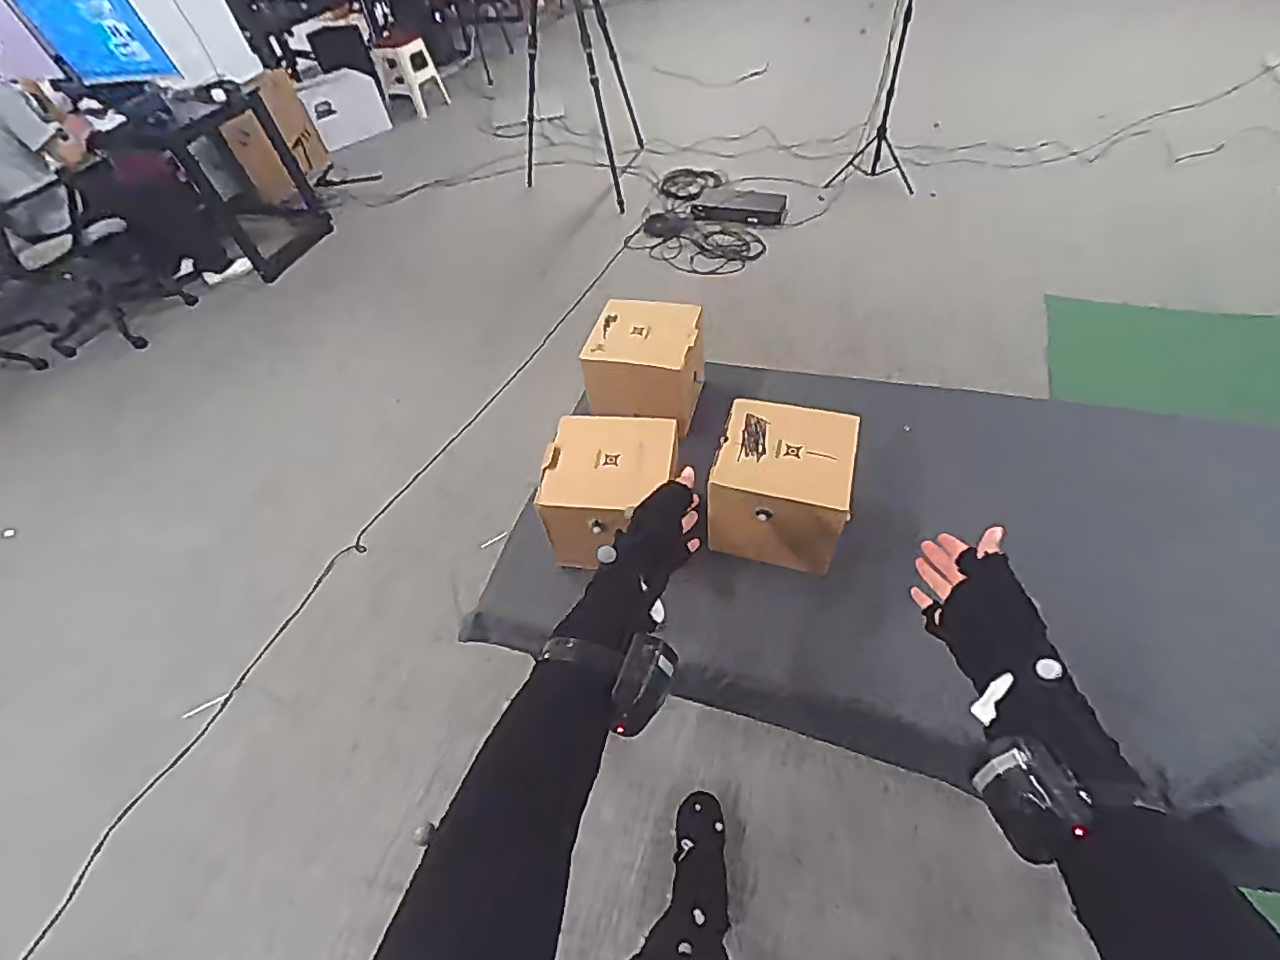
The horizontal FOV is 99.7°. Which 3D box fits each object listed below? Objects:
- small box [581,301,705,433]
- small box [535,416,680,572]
[{"bbox_3d":[0.014,-0.195,0.973,0.179,0.176,0.168,10,55,14],"label":"small box"},{"bbox_3d":[-0.036,0.024,0.808,0.179,0.176,0.168,4,52,9],"label":"small box"}]
